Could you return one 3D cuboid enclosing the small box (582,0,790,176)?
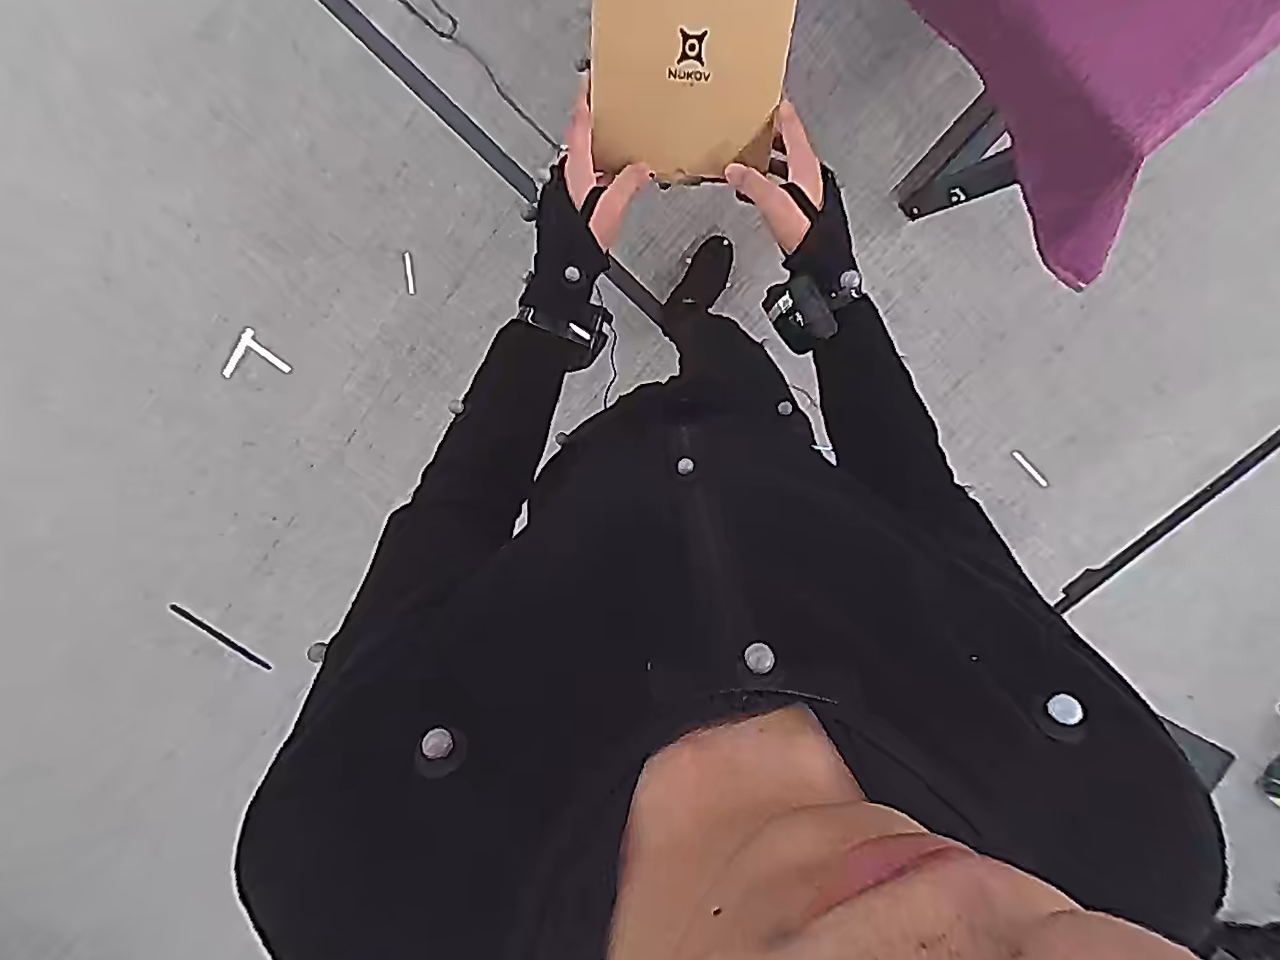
[{"bbox_3d":[0.032,-0.405,0.516,0.168,0.176,0.179,2,124,-6],"label":"small box"}]
